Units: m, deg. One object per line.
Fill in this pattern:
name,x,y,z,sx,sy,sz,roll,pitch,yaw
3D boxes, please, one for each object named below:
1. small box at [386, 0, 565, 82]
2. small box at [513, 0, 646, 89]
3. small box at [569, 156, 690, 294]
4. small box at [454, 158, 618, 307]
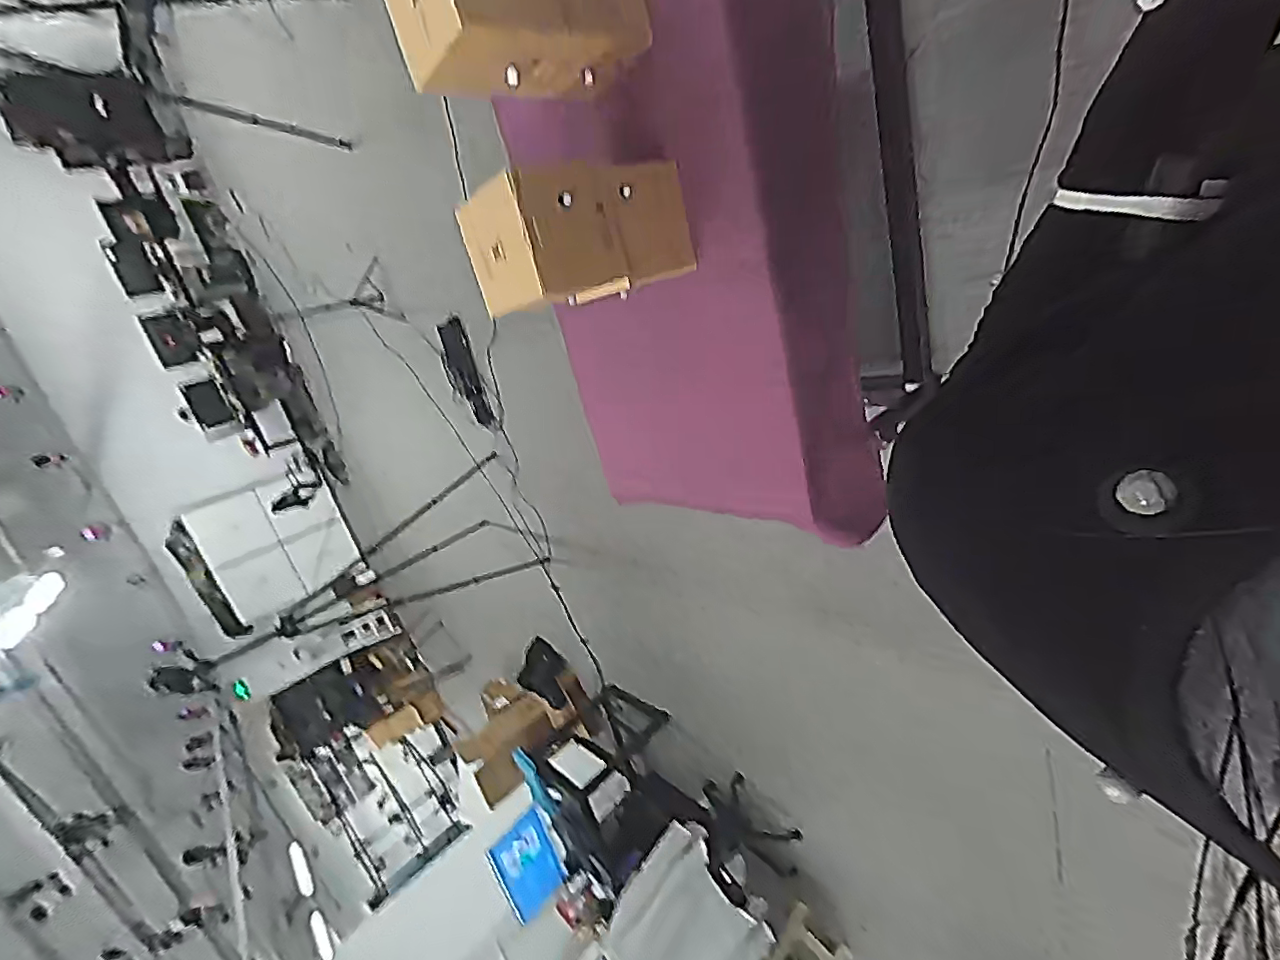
small box,-0.229,-0.669,0.725,0.168,0.176,0.179,5,117,50
small box,-0.115,-0.735,0.824,0.168,0.176,0.179,2,116,49
small box,-0.035,-0.437,0.934,0.168,0.176,0.179,7,118,48
small box,-0.152,-0.380,0.836,0.179,0.176,0.168,6,116,50
